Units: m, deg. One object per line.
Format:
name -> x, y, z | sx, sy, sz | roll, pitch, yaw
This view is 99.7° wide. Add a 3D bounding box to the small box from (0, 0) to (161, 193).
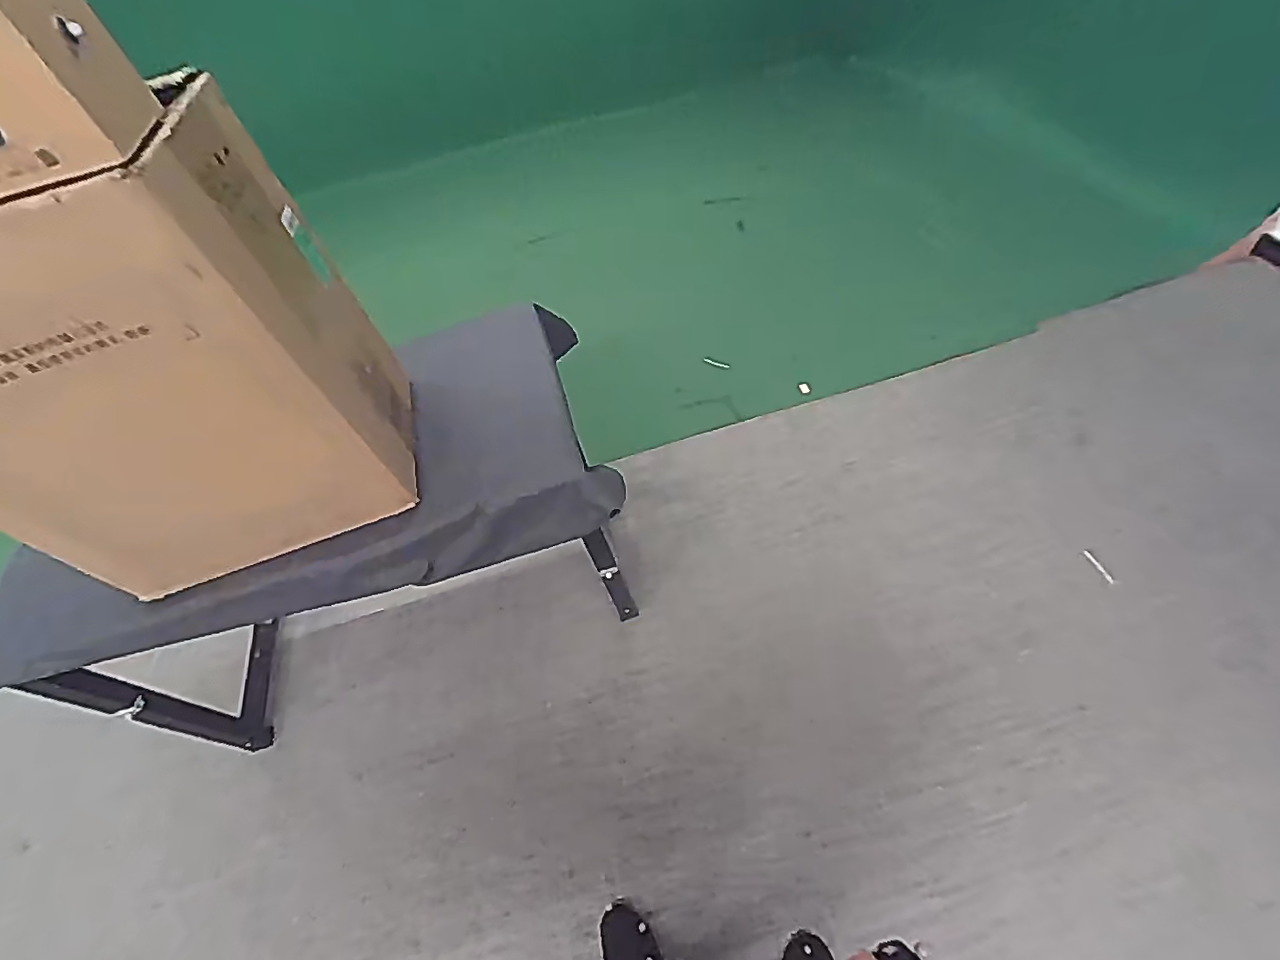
small box -> -0.637, -0.416, 0.538 | 0.168, 0.176, 0.179 | -19, 54, -4
